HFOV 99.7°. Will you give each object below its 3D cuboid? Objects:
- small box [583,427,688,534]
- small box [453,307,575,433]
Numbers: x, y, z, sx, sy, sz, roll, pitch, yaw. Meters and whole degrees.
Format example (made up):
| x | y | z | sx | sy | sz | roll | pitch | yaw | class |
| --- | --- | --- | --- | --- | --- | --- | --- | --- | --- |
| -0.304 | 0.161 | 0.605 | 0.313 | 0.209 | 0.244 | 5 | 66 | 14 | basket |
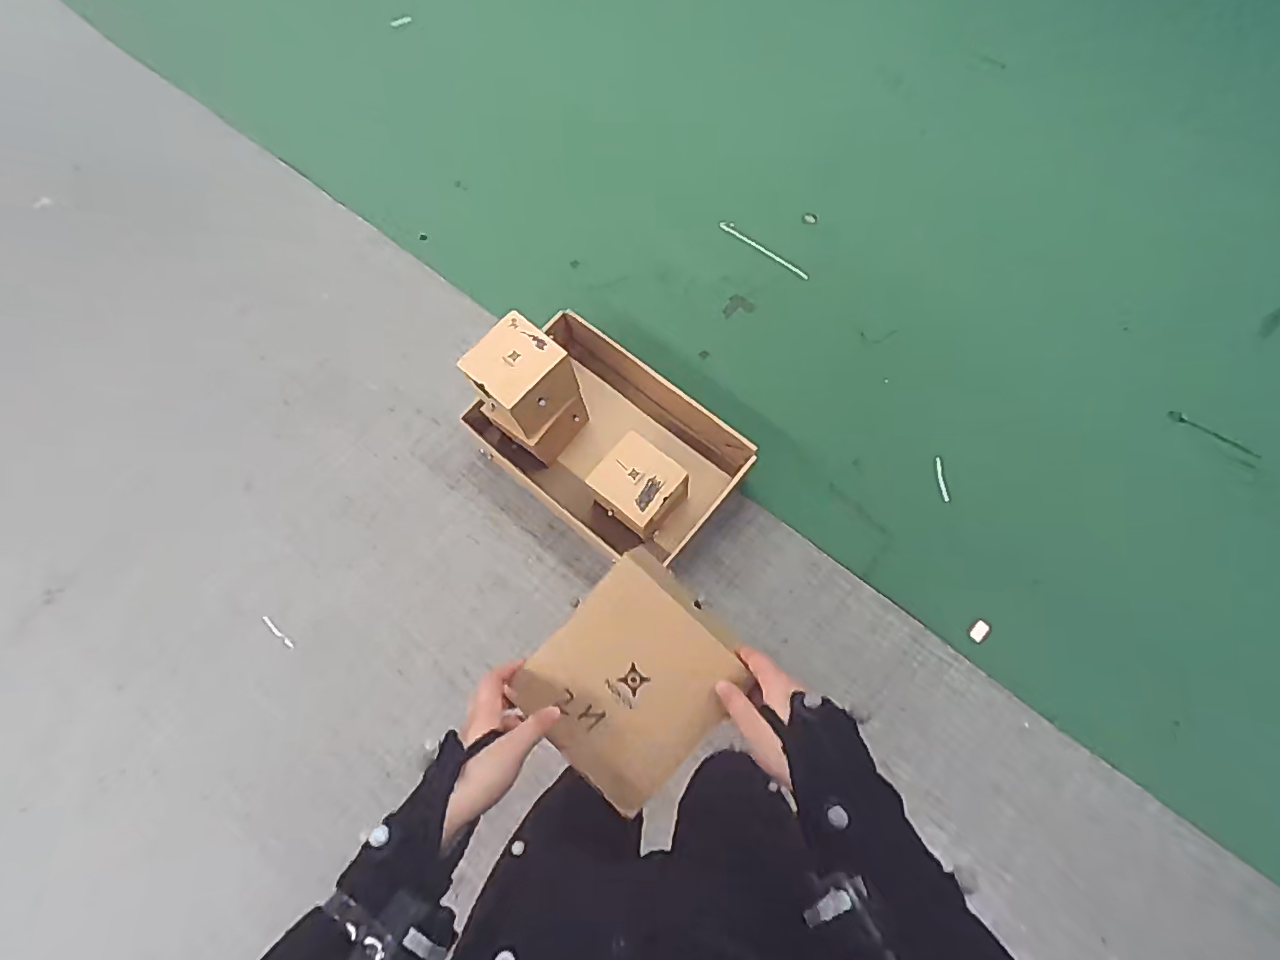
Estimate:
| x | y | z | sx | sy | sz | roll | pitch | yaw | class |
| --- | --- | --- | --- | --- | --- | --- | --- | --- | --- |
| -0.004 | 0.011 | 1.265 | 0.179 | 0.176 | 0.168 | 38 | 80 | 13 | small box |
| -0.262 | -0.230 | 1.177 | 0.168 | 0.176 | 0.179 | 40 | 81 | 13 | small box |
